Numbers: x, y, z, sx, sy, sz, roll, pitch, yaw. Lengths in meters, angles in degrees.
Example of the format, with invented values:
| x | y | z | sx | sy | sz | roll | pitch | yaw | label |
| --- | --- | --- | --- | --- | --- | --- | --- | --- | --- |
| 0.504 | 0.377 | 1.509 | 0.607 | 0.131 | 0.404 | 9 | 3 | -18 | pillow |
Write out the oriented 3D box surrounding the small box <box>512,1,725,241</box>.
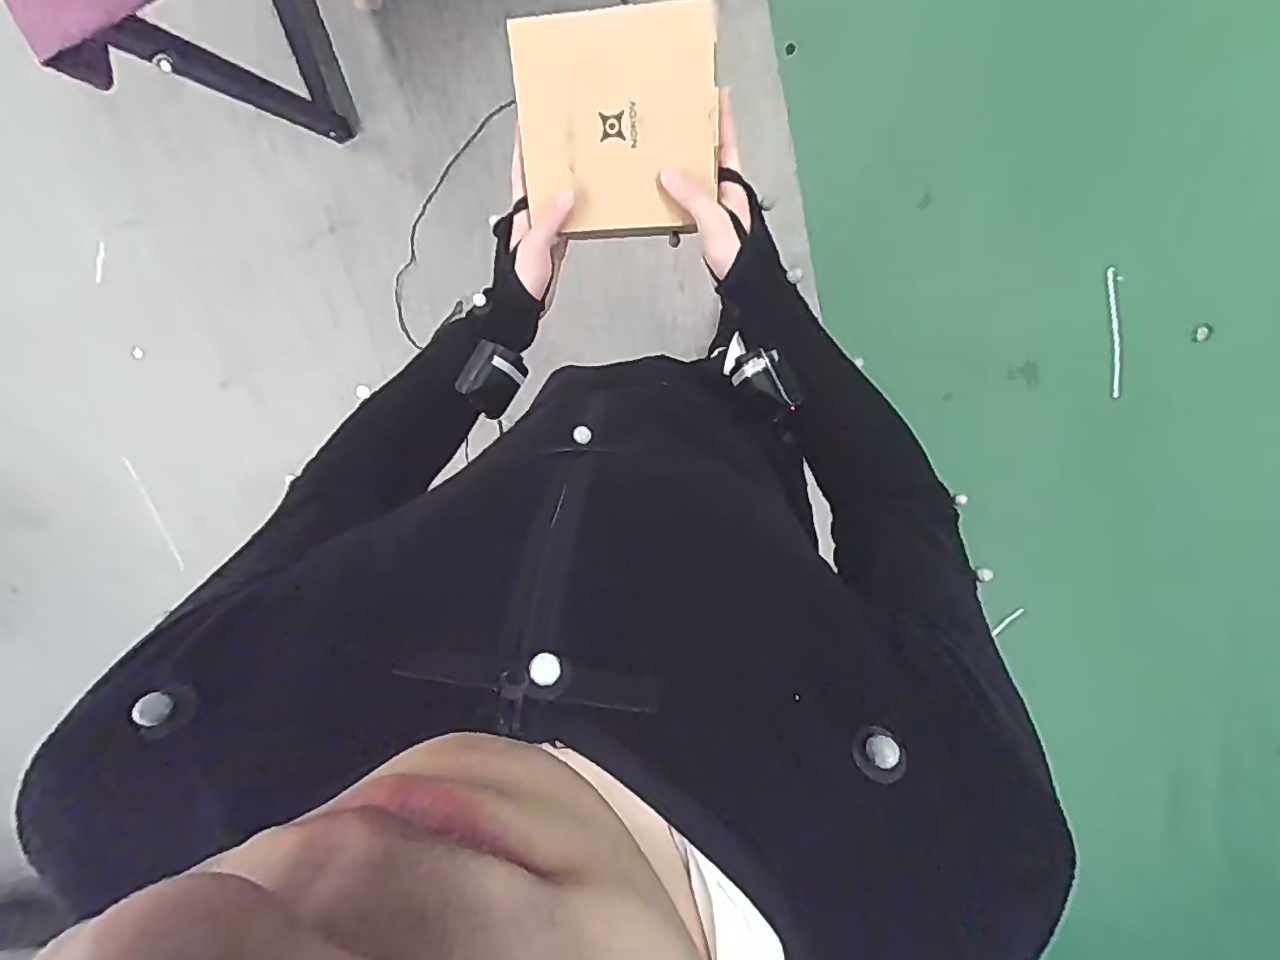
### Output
| x | y | z | sx | sy | sz | roll | pitch | yaw | label |
| --- | --- | --- | --- | --- | --- | --- | --- | --- | --- |
| -0.009 | -0.332 | 0.536 | 0.179 | 0.176 | 0.168 | 0 | 111 | 7 | small box |
